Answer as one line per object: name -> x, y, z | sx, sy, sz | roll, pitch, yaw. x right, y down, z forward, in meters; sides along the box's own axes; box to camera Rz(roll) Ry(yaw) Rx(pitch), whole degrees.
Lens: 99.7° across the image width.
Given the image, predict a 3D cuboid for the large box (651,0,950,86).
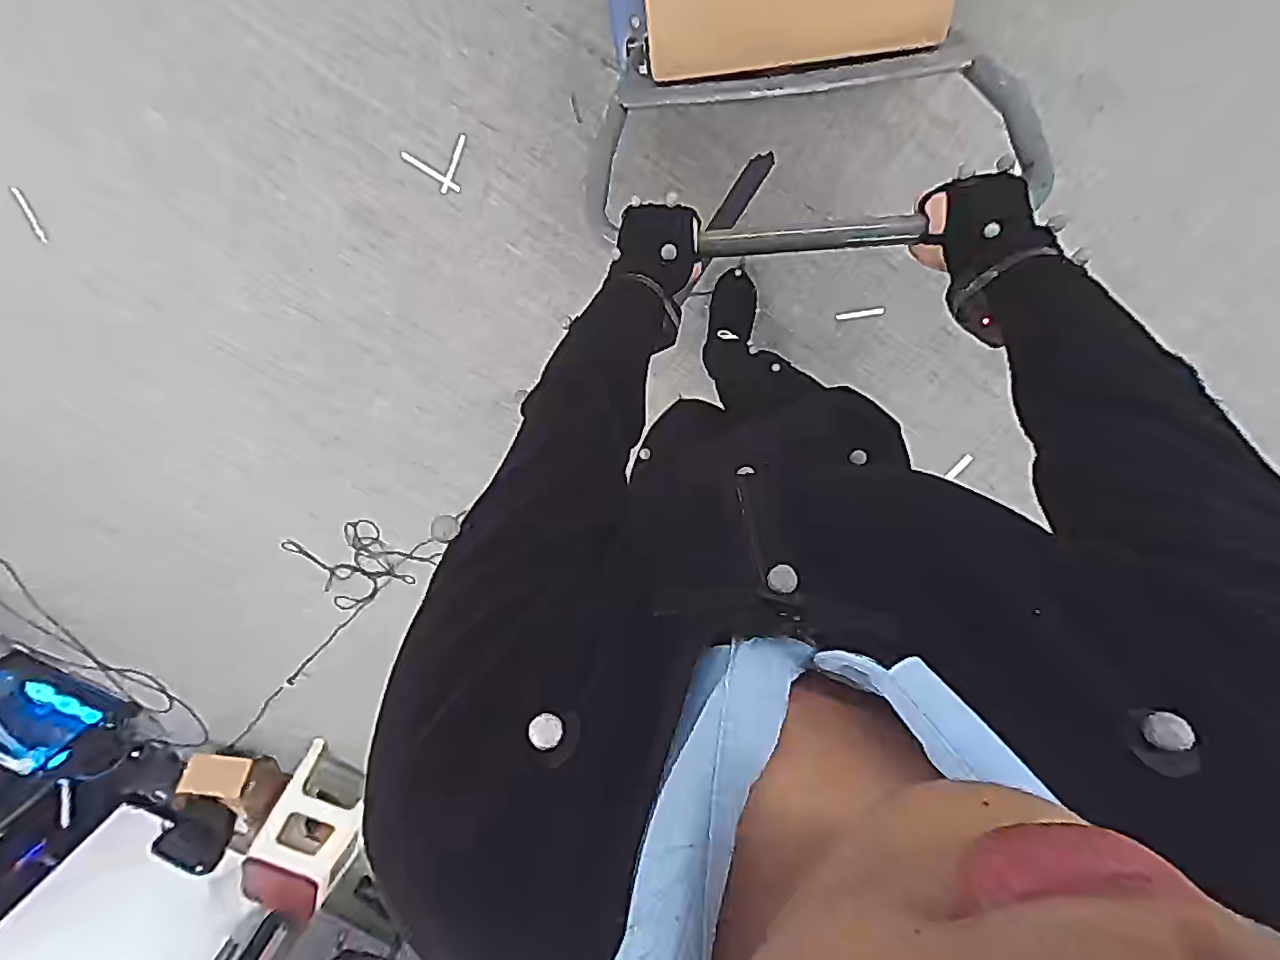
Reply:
large box -> 0.214, -0.816, 0.779 | 0.408, 0.320, 0.320 | -2, 137, 10
